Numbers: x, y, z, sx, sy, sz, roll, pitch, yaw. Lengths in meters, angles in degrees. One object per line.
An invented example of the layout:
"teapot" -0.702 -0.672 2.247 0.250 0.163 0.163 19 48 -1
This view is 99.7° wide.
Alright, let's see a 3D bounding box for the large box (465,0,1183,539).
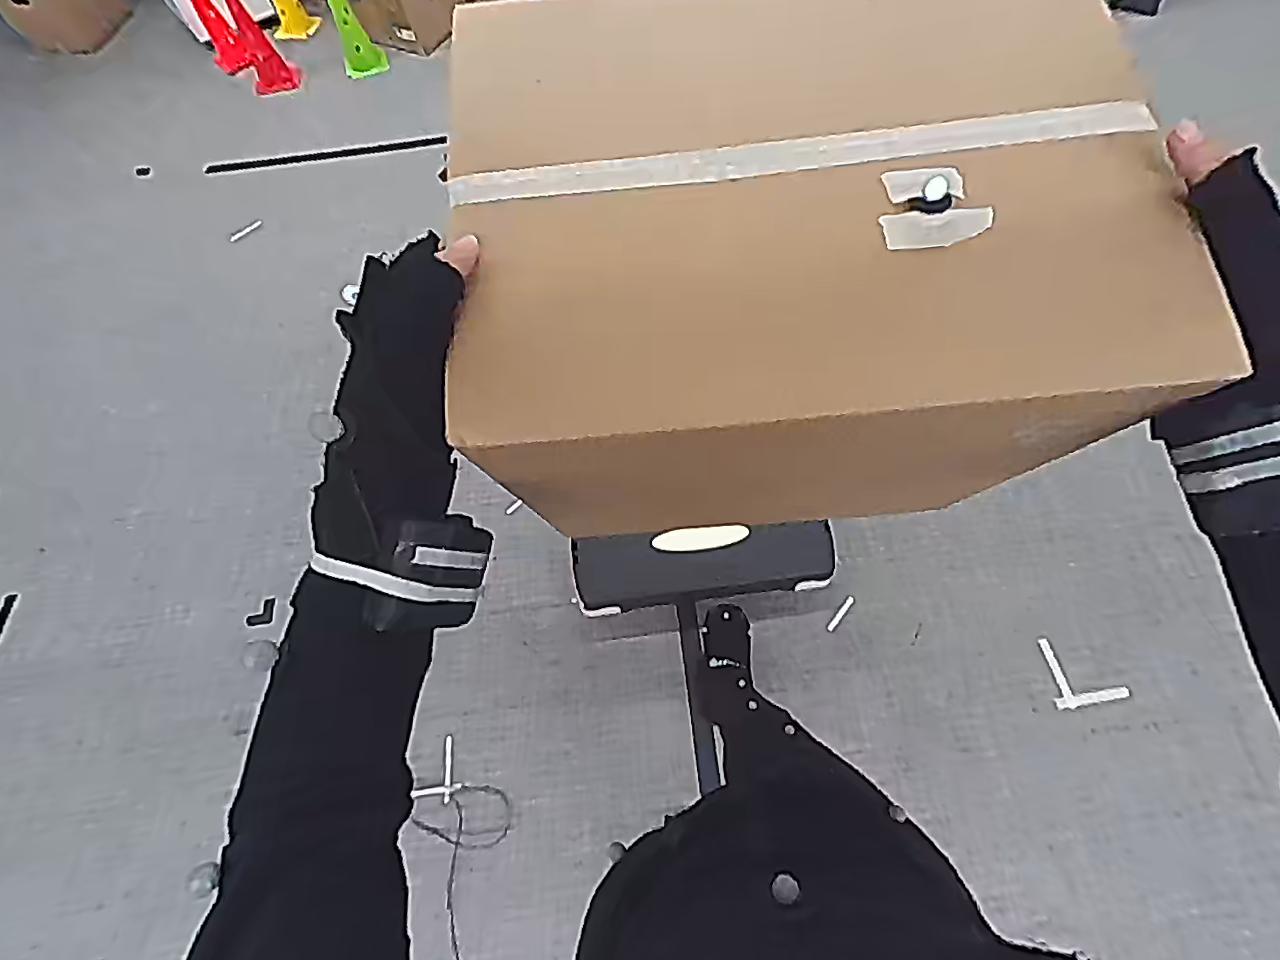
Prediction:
"large box" 0.092 -0.141 0.481 0.408 0.320 0.320 -5 74 2
